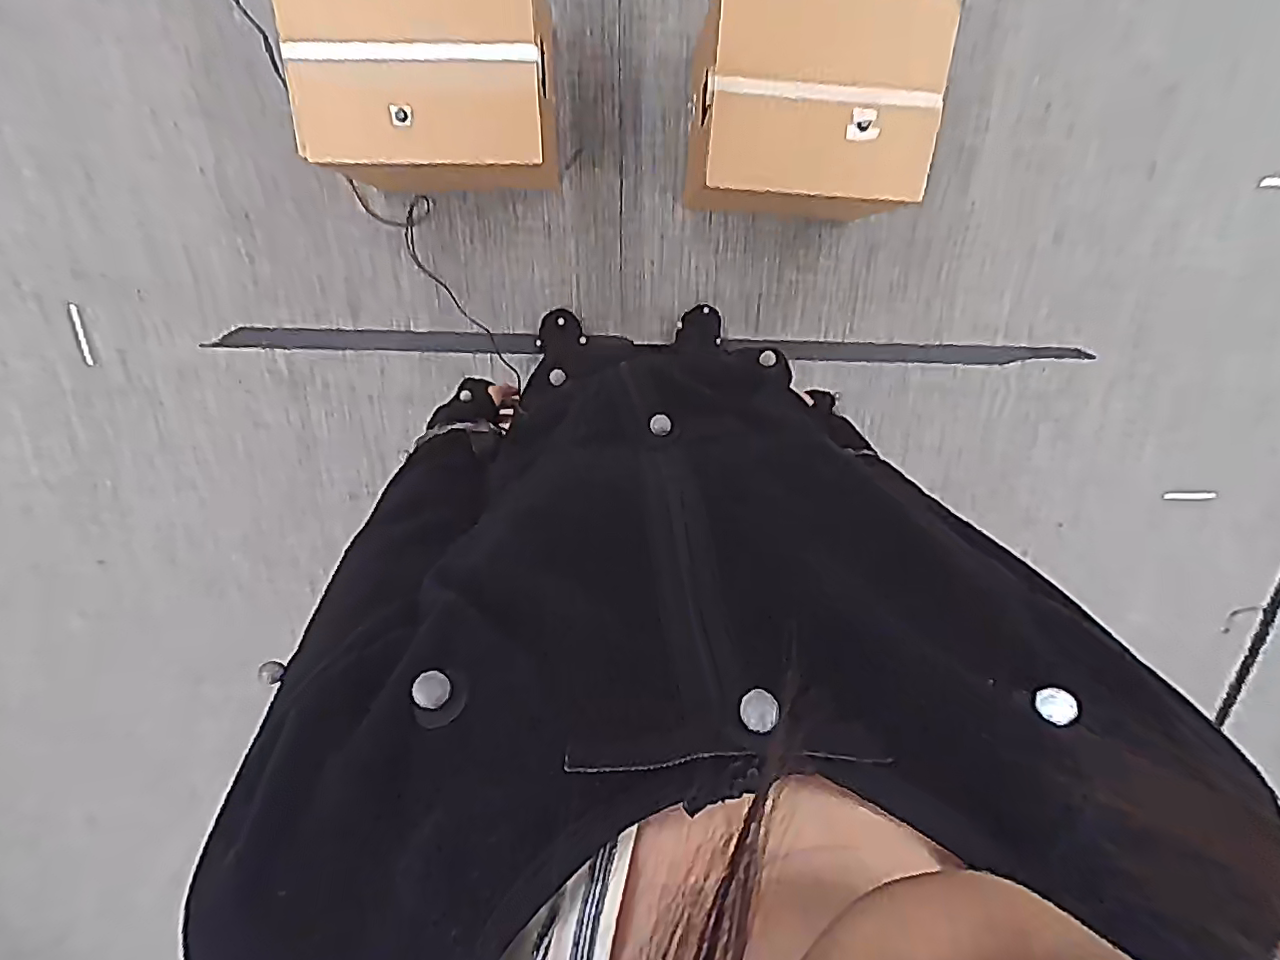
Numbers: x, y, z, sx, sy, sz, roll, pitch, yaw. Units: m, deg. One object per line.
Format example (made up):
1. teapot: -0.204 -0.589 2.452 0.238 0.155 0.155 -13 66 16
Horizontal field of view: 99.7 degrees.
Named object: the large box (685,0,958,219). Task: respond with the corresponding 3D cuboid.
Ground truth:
1. large box: 0.315 -0.716 1.073 0.408 0.320 0.320 2 110 -5
